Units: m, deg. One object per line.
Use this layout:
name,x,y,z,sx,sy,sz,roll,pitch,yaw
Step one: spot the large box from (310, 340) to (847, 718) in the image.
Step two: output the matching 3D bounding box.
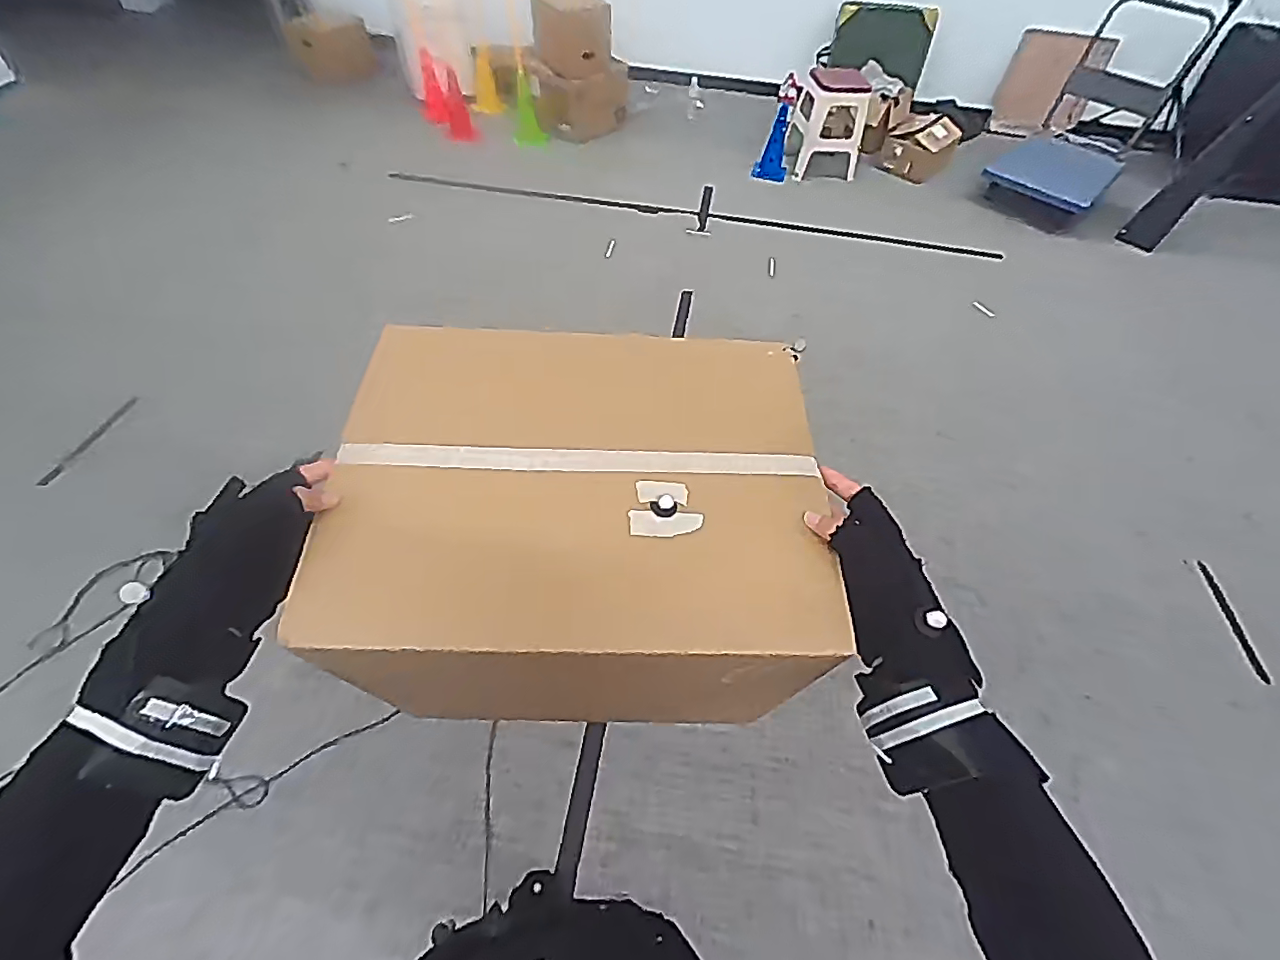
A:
large box,-0.052,0.071,0.599,0.408,0.320,0.320,2,58,-3
